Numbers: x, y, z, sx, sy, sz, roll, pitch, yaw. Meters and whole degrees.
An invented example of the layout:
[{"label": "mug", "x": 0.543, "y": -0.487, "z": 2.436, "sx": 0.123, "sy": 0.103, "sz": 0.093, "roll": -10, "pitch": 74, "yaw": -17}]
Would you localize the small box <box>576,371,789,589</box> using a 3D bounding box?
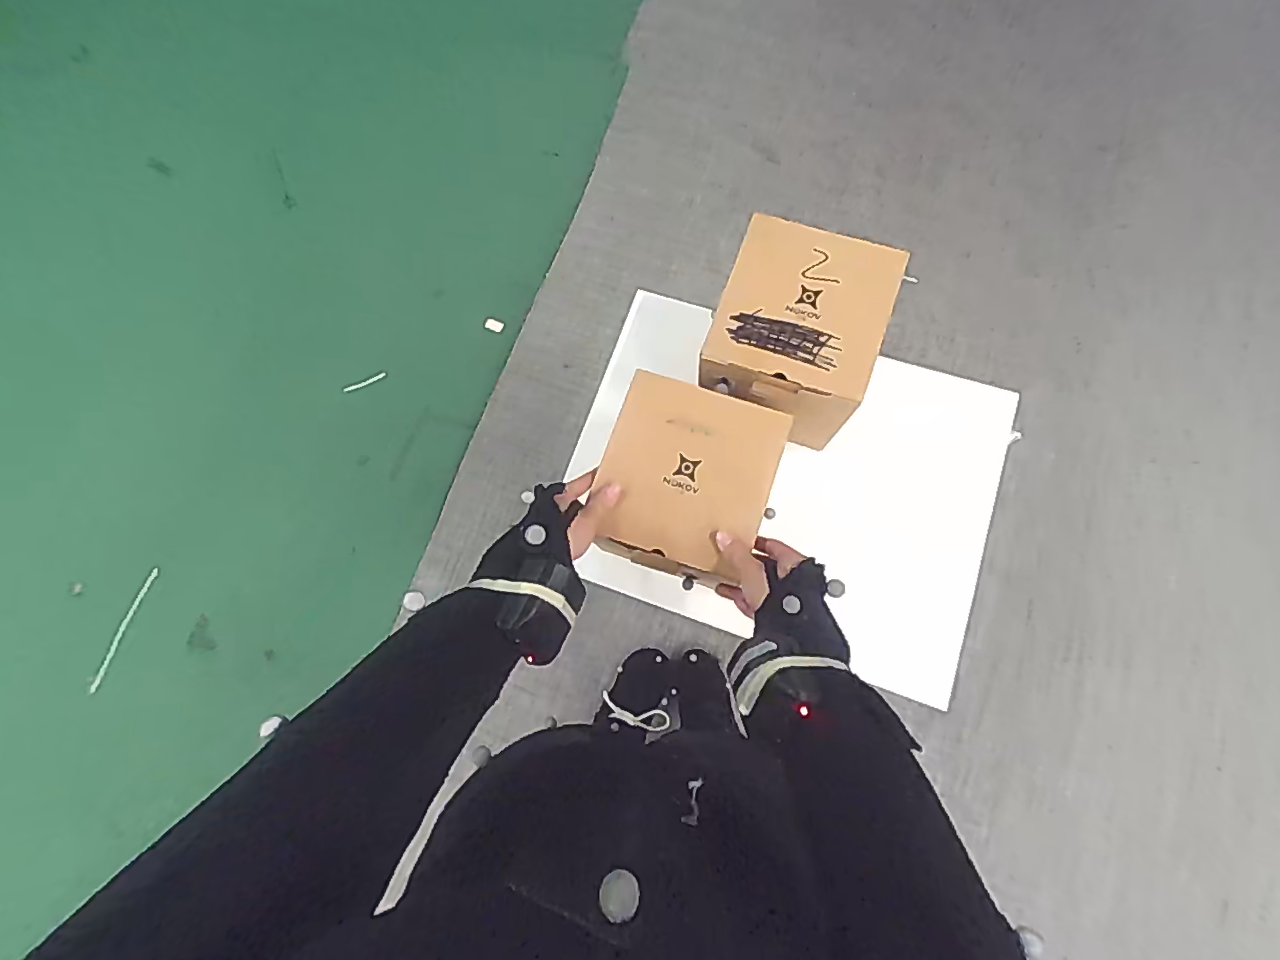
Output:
[{"label": "small box", "x": 0.047, "y": 0.013, "z": 0.596, "sx": 0.168, "sy": 0.176, "sz": 0.179, "roll": 18, "pitch": 77, "yaw": 7}]
